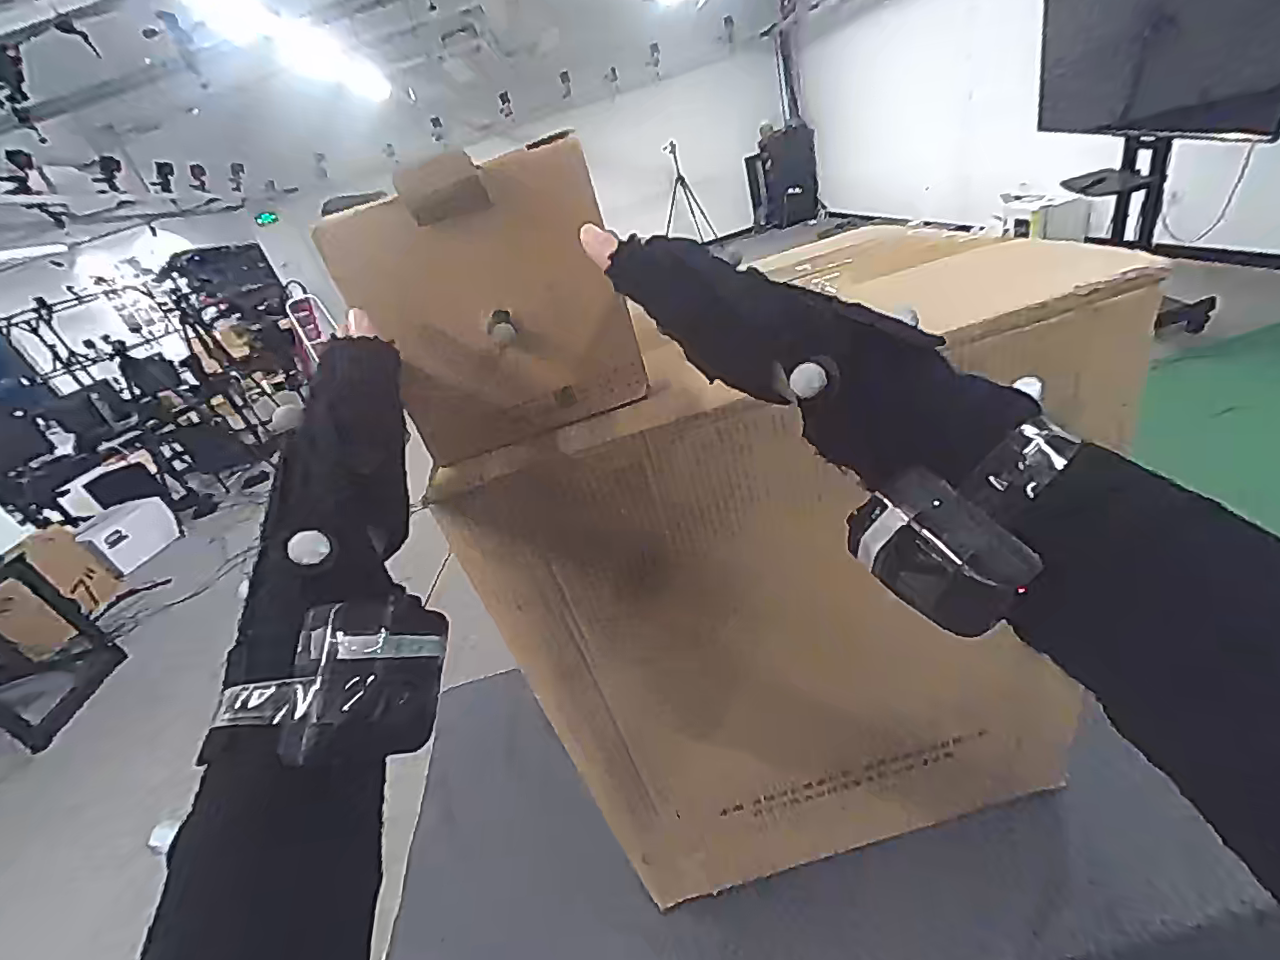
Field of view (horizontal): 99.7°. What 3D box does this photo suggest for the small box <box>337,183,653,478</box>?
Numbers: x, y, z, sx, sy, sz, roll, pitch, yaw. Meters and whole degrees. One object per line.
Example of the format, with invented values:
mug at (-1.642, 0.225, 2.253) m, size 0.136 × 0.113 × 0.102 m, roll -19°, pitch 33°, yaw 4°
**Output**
small box at (-0.101, -0.120, 0.438) m, size 0.168 × 0.176 × 0.179 m, roll -21°, pitch 30°, yaw -2°
